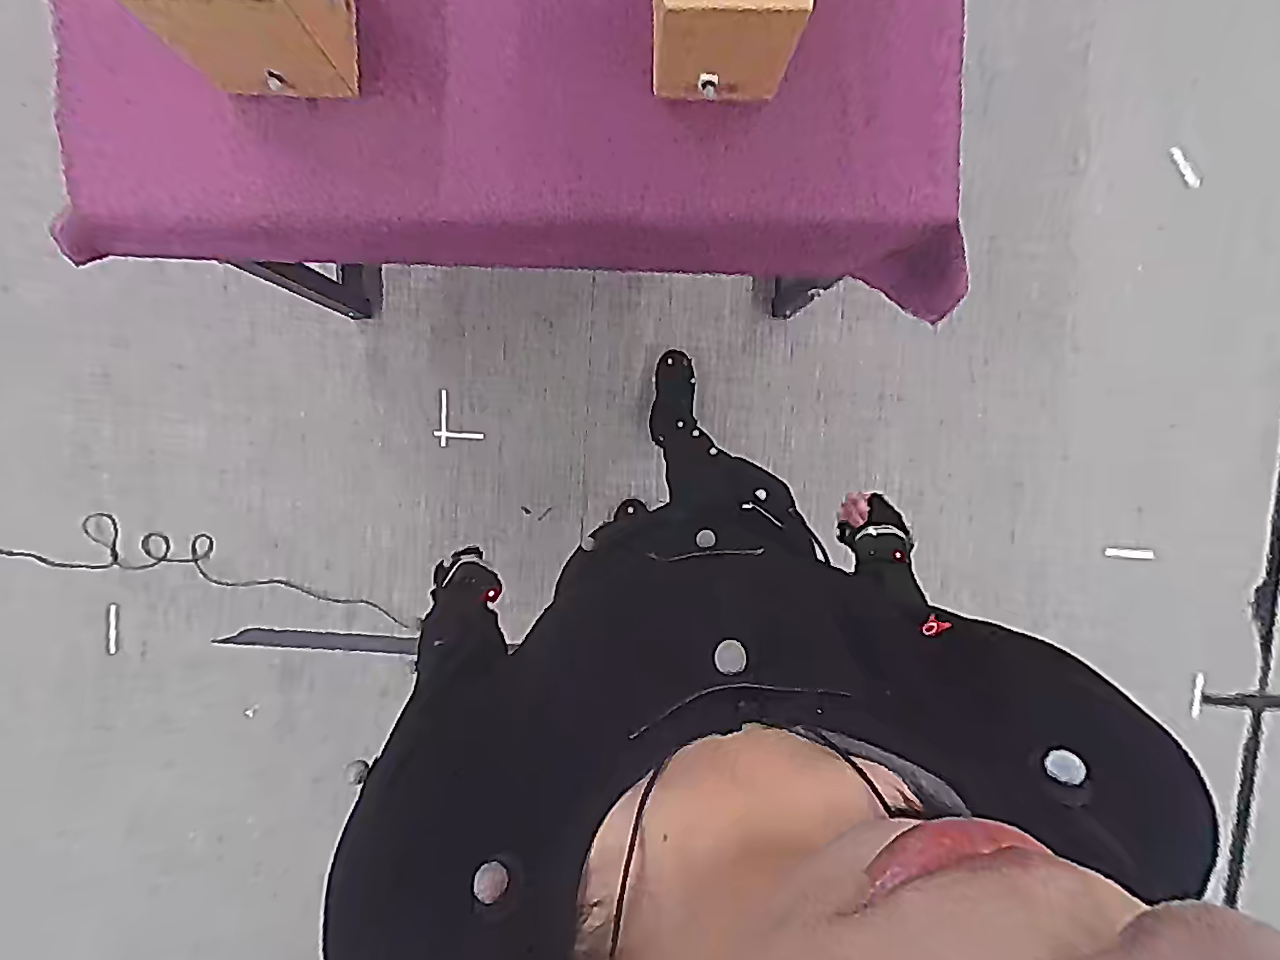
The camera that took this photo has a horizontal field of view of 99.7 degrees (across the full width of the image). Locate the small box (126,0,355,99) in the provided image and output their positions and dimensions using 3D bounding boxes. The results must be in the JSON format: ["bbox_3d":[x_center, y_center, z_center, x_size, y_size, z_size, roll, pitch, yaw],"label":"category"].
[{"bbox_3d":[-0.454,-0.584,0.636,0.179,0.176,0.168,0,94,-3],"label":"small box"}]

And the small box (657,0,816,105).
[{"bbox_3d":[0.107,-0.599,0.658,0.168,0.176,0.179,-1,94,-1],"label":"small box"}]
